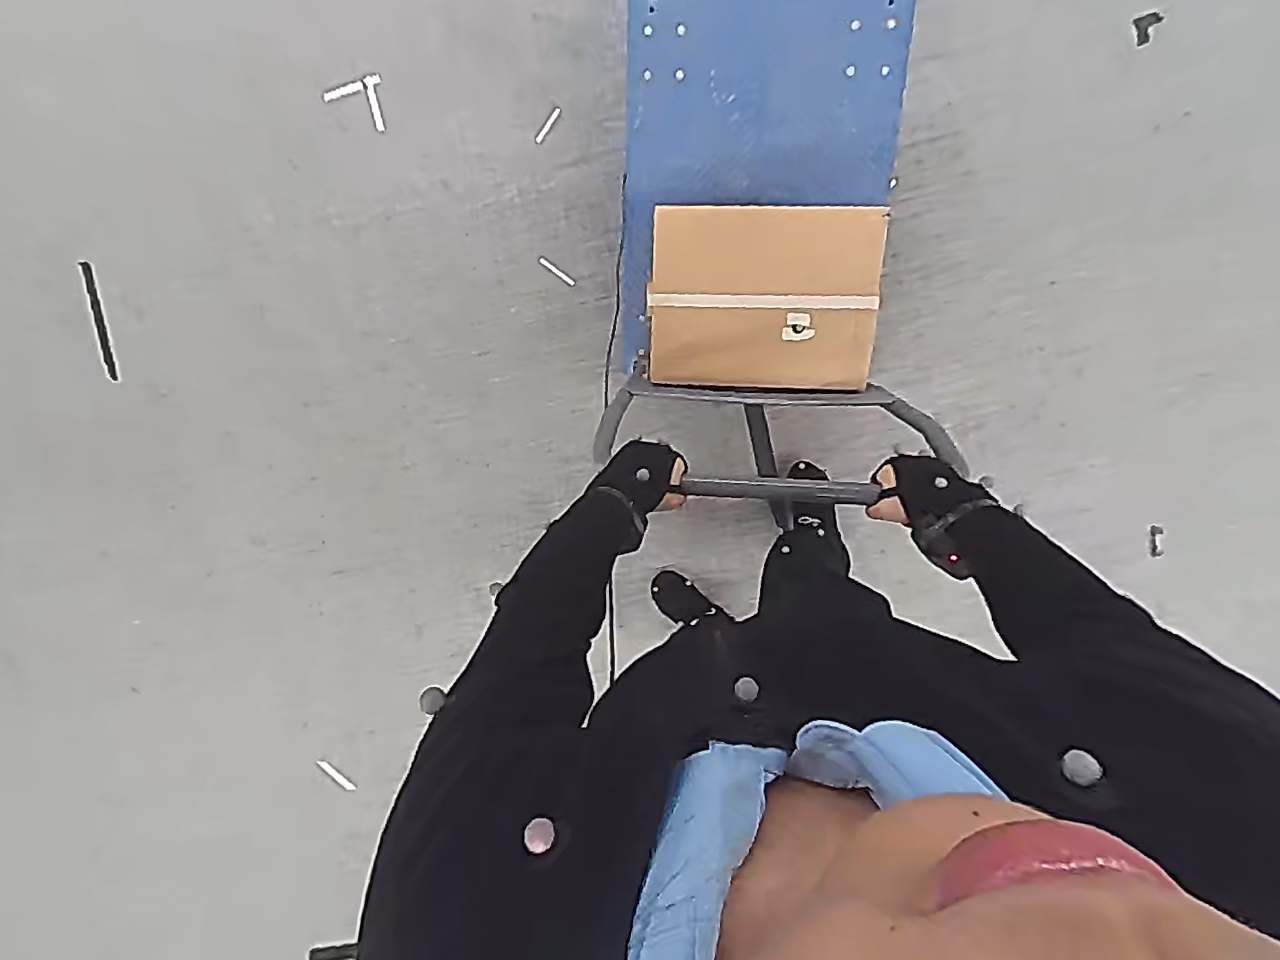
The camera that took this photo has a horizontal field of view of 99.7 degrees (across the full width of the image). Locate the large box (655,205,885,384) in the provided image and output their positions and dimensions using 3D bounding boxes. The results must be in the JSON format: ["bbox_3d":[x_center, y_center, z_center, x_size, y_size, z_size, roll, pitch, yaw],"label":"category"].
[{"bbox_3d":[0.240,-0.376,1.138,0.408,0.320,0.320,3,107,4],"label":"large box"}]
